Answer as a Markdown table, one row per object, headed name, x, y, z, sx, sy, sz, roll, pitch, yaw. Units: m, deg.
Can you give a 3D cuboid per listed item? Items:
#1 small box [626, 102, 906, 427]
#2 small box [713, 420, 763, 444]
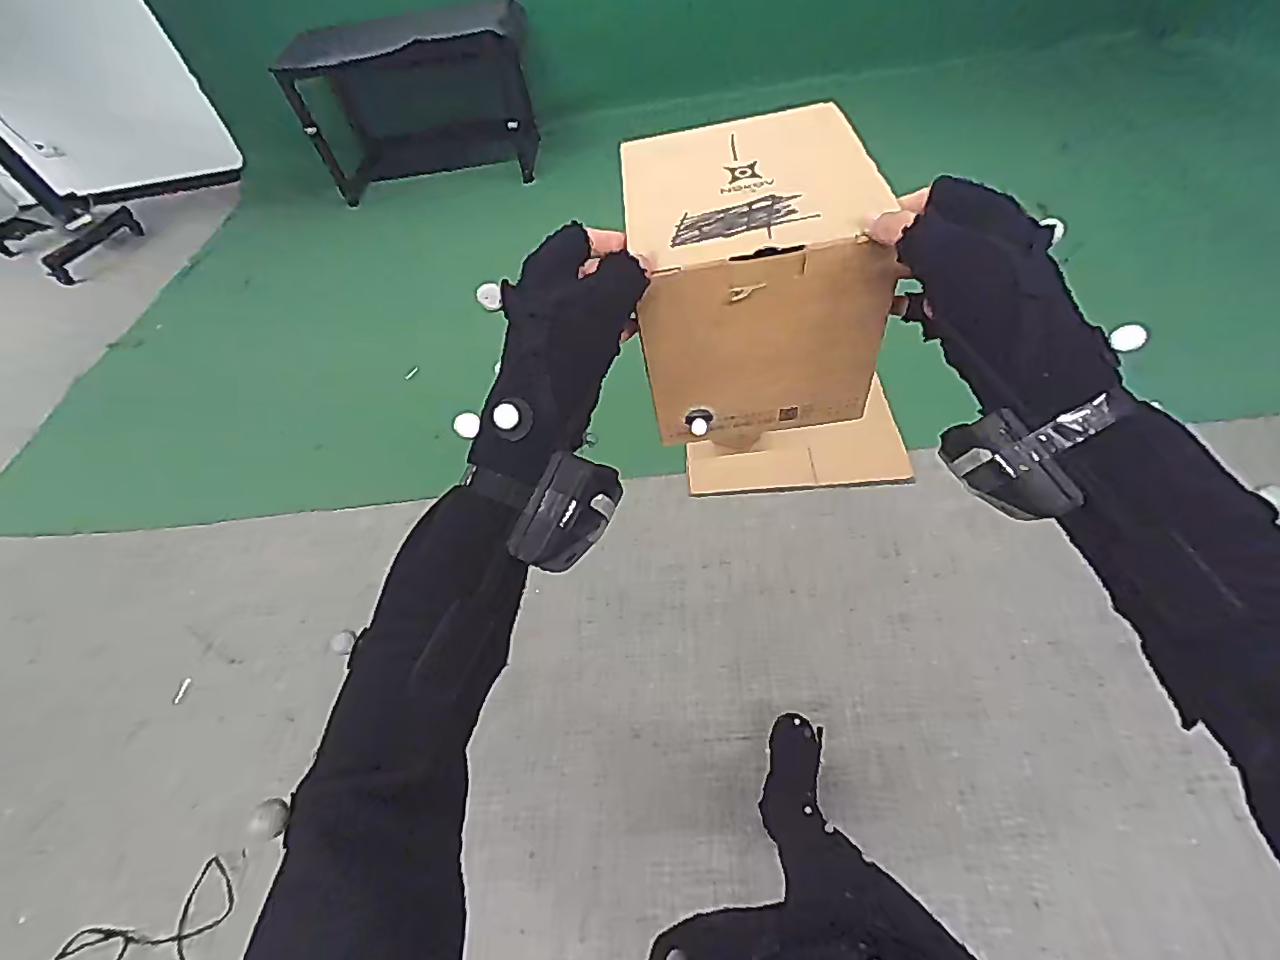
| name | x | y | z | sx | sy | sz | roll | pitch | yaw |
| --- | --- | --- | --- | --- | --- | --- | --- | --- | --- |
| small box | 0.085 | -0.157 | 0.431 | 0.168 | 0.176 | 0.179 | -7 | 54 | 6 |
| small box | 0.324 | -0.244 | 1.832 | 0.168 | 0.176 | 0.179 | -6 | 52 | 7 |
